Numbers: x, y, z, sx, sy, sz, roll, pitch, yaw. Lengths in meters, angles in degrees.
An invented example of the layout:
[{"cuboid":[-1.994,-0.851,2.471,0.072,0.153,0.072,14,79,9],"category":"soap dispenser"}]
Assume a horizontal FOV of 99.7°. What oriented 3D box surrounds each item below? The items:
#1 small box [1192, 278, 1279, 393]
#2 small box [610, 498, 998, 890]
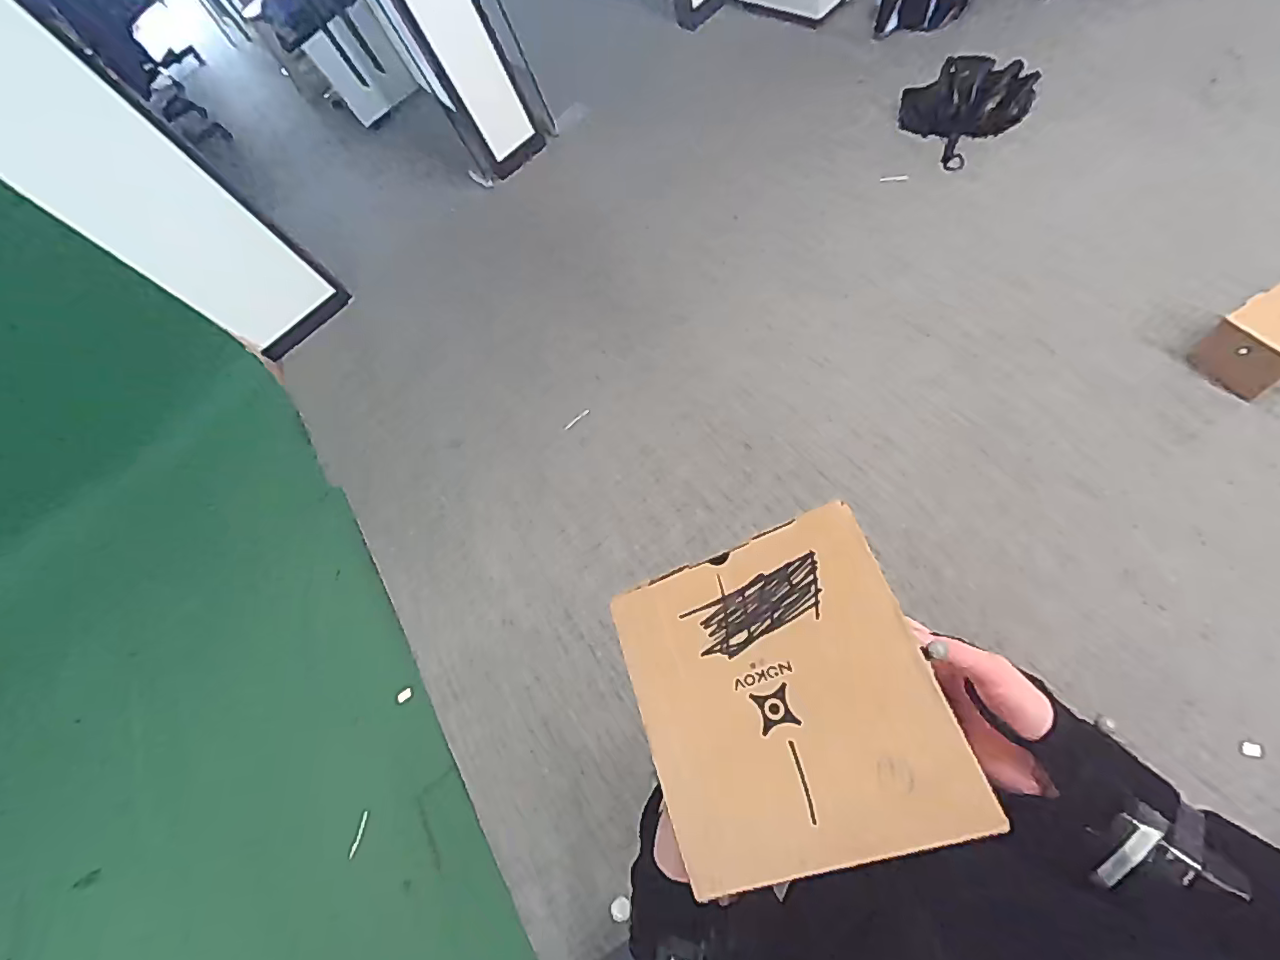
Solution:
[{"cuboid":[1.493,-0.341,1.277,0.168,0.176,0.179,-33,61,4],"category":"small box"},{"cuboid":[0.107,0.138,0.376,0.168,0.176,0.179,-27,66,18],"category":"small box"}]
